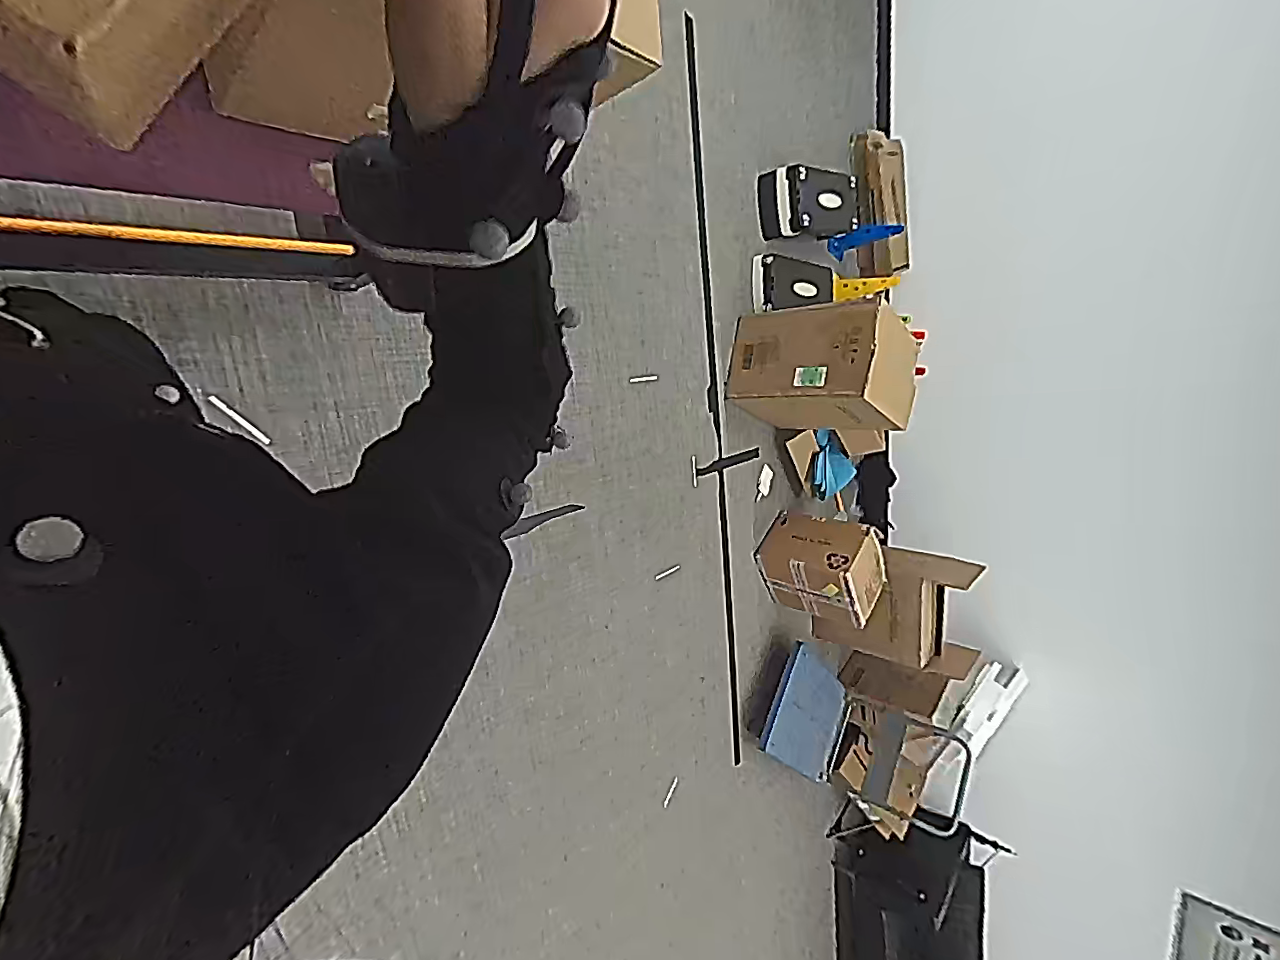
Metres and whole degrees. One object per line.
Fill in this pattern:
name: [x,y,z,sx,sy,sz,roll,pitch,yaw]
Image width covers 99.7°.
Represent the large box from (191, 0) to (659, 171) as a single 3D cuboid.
large box: [-0.215,-0.558,0.480,0.320,0.320,0.408,-18,107,-46]
